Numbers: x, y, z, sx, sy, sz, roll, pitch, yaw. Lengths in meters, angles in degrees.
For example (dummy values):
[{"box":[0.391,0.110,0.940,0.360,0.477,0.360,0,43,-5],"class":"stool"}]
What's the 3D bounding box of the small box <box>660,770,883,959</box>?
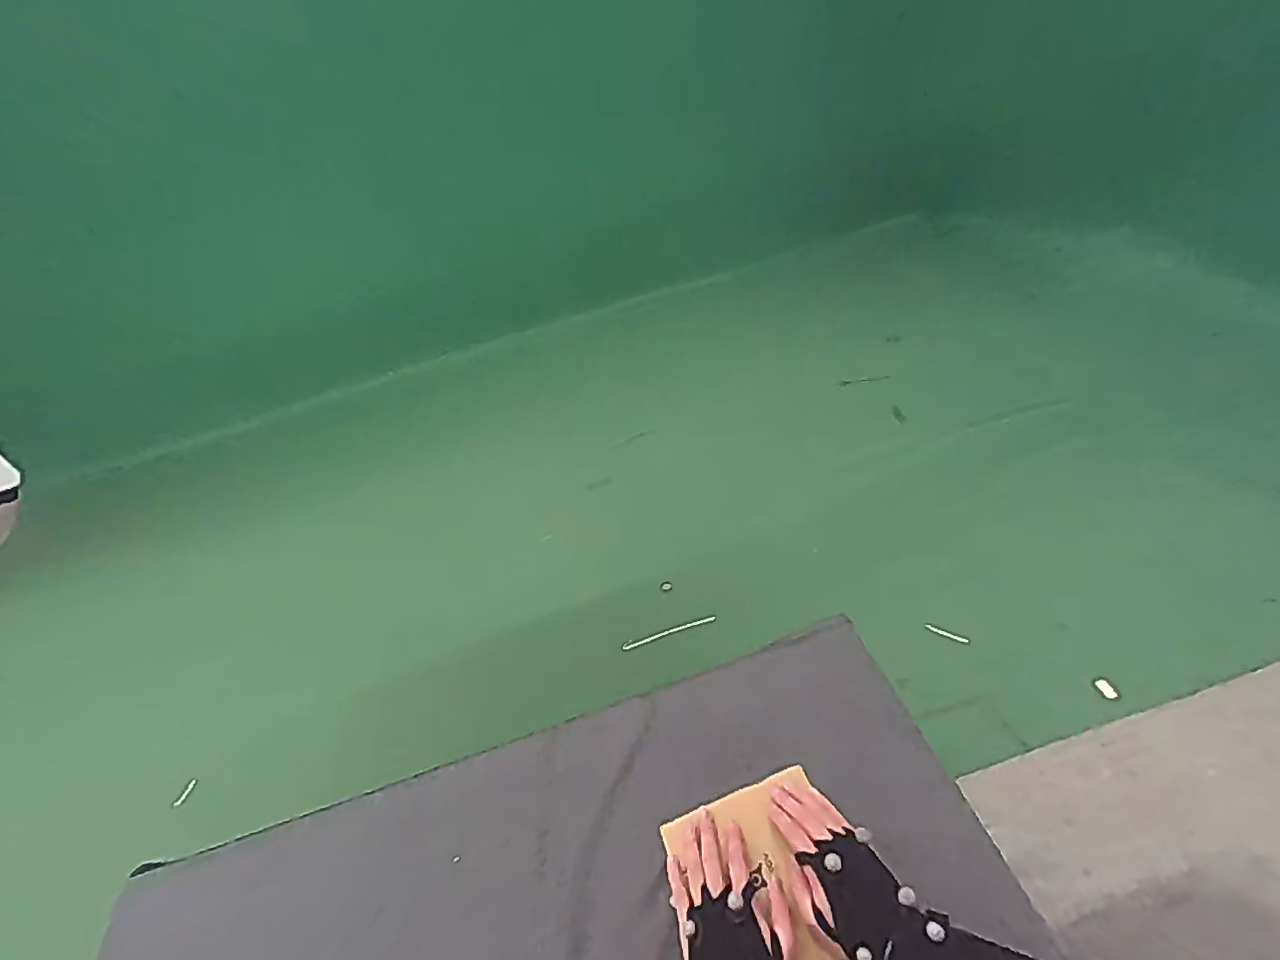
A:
[{"box":[0.141,0.471,0.615,0.179,0.176,0.168,-23,44,-7],"class":"small box"}]
